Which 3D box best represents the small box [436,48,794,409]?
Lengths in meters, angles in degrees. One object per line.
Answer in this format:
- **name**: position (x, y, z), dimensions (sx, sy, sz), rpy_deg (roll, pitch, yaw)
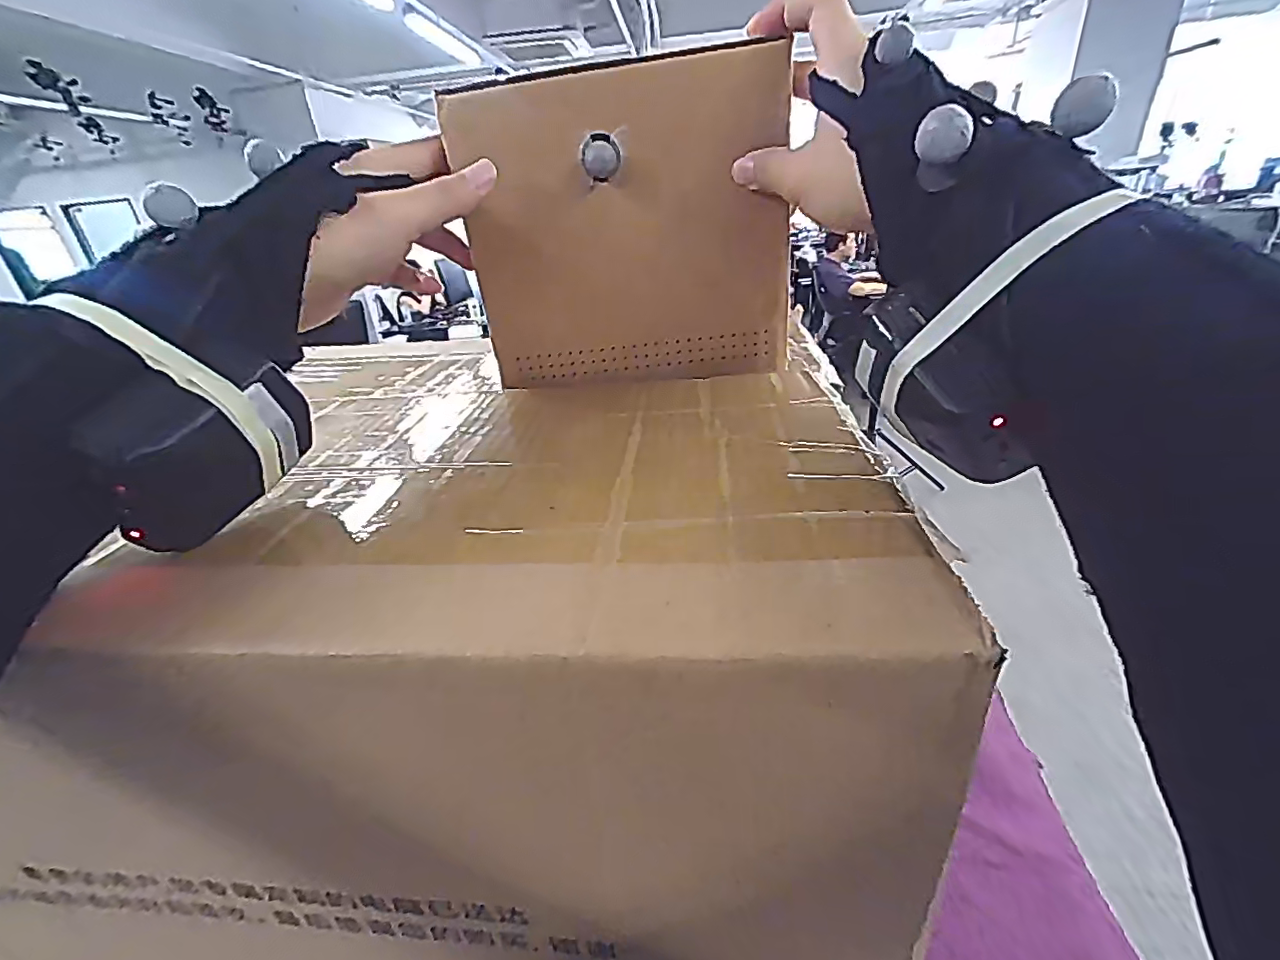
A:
- **small box**: position (-0.002, -0.159, 0.364), dimensions (0.179, 0.176, 0.168), rpy_deg (-6, 28, 5)
